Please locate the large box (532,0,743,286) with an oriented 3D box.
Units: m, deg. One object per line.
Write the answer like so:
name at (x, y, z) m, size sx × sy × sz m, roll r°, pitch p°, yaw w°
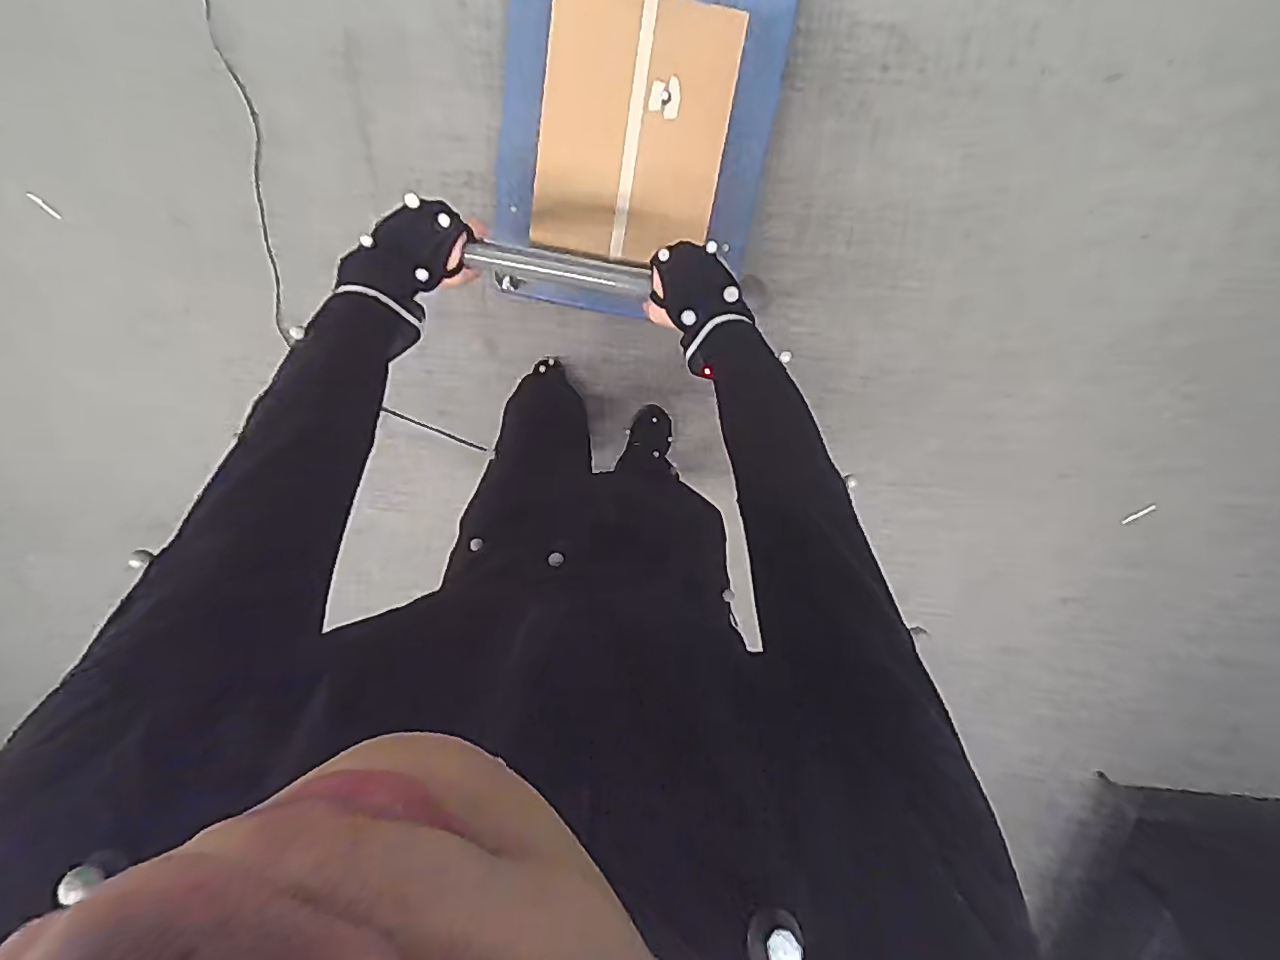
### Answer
large box at (-0.009, -0.617, 1.063) m, size 0.320 × 0.320 × 0.408 m, roll 10°, pitch 108°, yaw -2°
